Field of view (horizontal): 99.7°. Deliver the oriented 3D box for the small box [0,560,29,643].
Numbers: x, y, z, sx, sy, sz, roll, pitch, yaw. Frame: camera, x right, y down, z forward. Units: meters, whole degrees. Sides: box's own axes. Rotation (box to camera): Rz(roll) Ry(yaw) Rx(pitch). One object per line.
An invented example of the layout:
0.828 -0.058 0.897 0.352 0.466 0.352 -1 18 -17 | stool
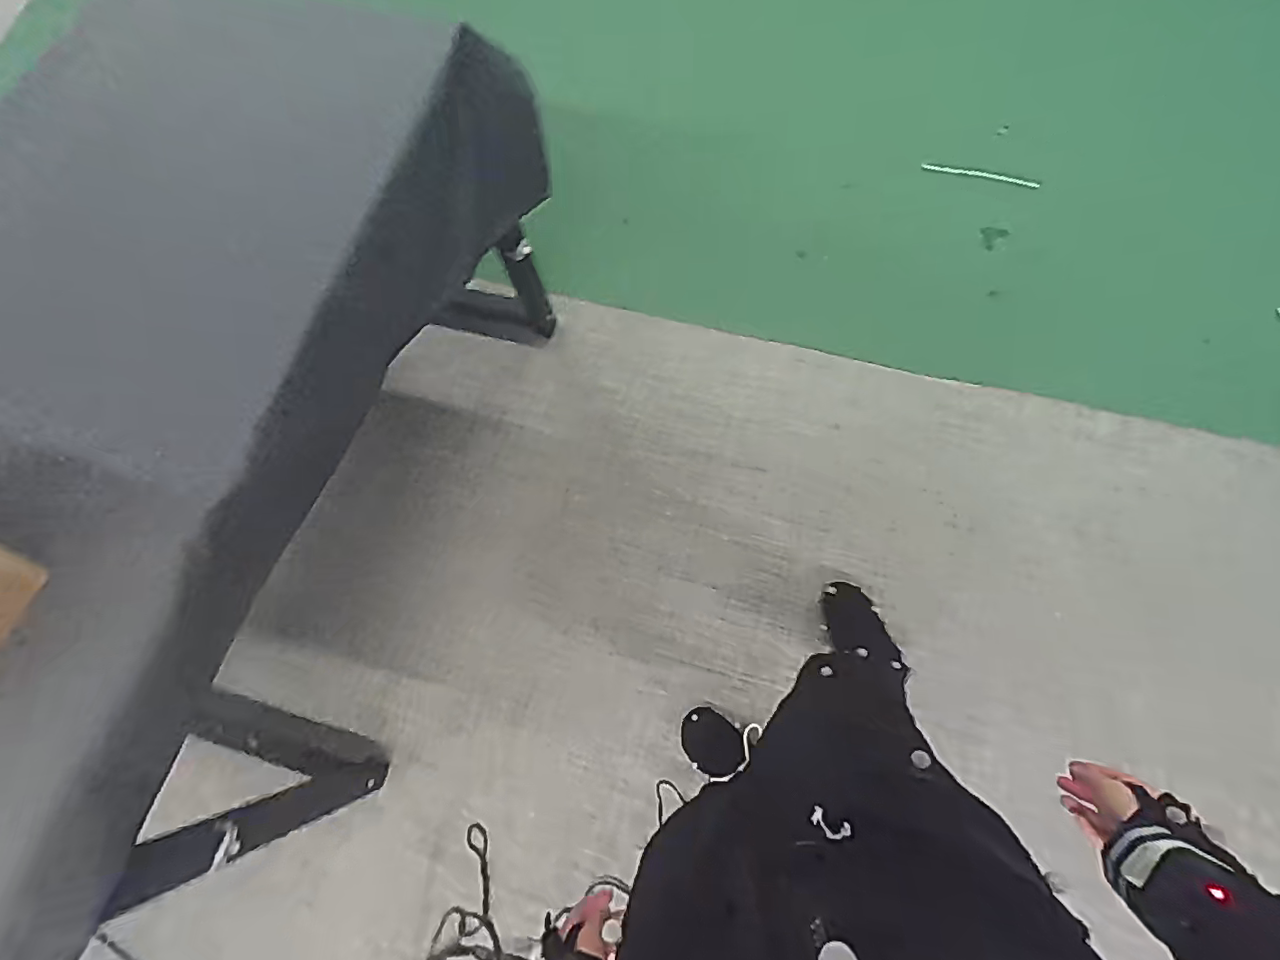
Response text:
-0.712 0.122 0.465 0.168 0.176 0.179 20 74 10 | small box
